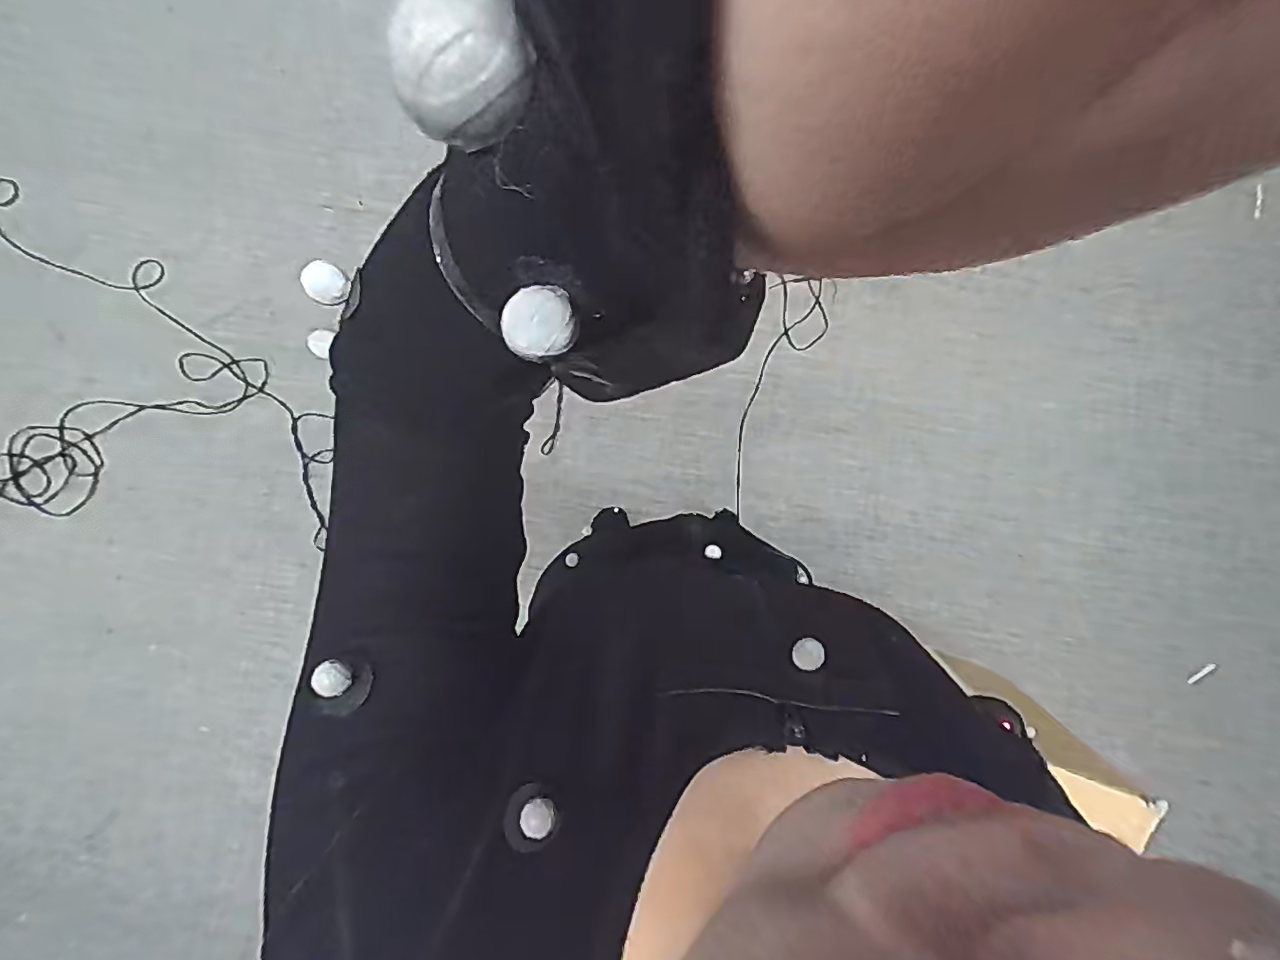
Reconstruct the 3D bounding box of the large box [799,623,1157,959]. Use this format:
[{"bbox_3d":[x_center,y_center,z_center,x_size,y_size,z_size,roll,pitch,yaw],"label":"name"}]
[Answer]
[{"bbox_3d":[0.485,0.495,0.901,0.320,0.408,0.320,19,97,8],"label":"large box"}]
